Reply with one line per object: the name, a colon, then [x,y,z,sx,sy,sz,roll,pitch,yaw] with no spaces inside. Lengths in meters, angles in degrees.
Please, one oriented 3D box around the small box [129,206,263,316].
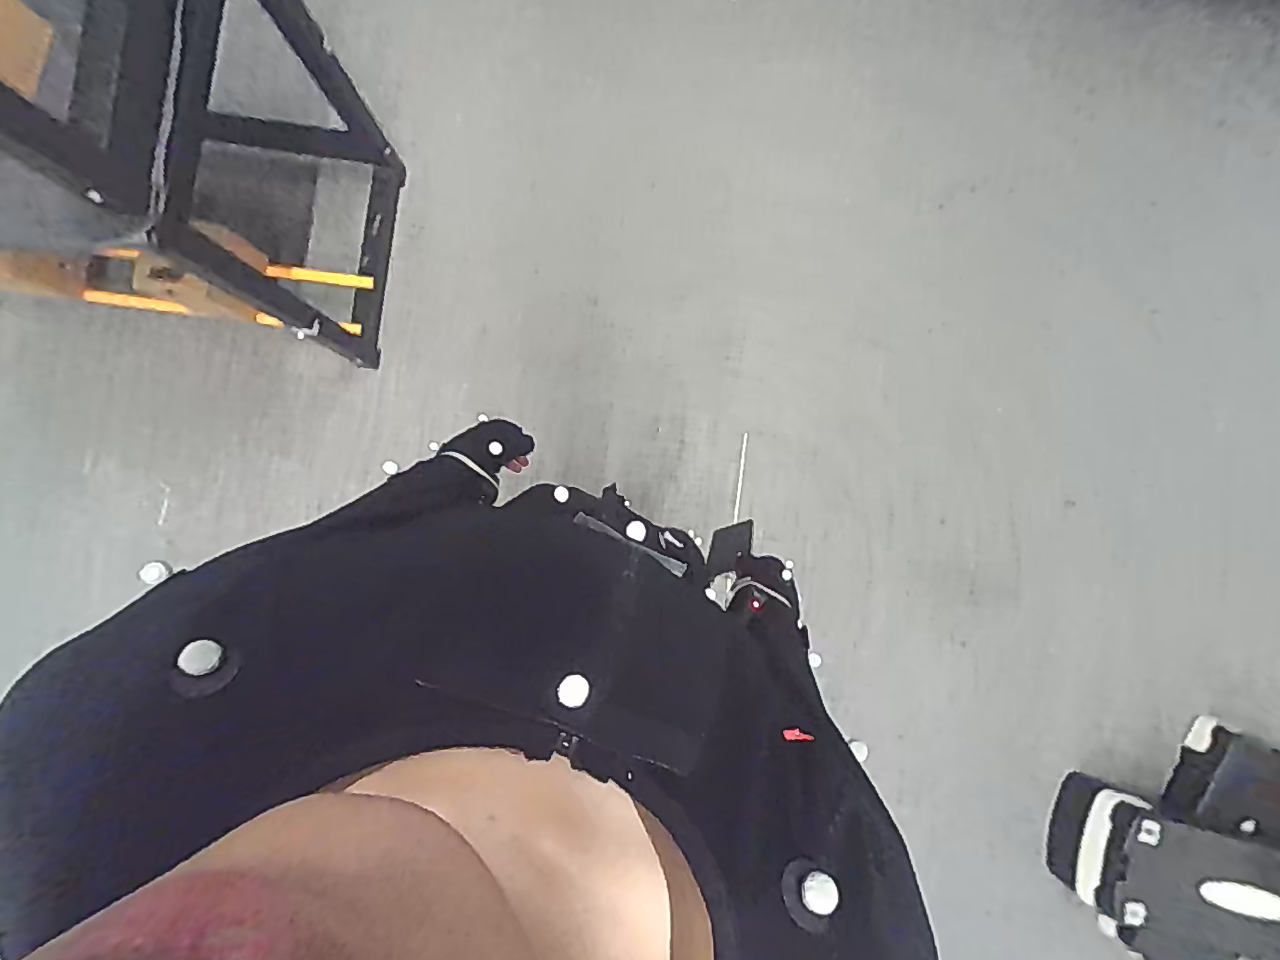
small box: [-1.030,-0.504,1.271,0.168,0.176,0.179,10,87,-3]
